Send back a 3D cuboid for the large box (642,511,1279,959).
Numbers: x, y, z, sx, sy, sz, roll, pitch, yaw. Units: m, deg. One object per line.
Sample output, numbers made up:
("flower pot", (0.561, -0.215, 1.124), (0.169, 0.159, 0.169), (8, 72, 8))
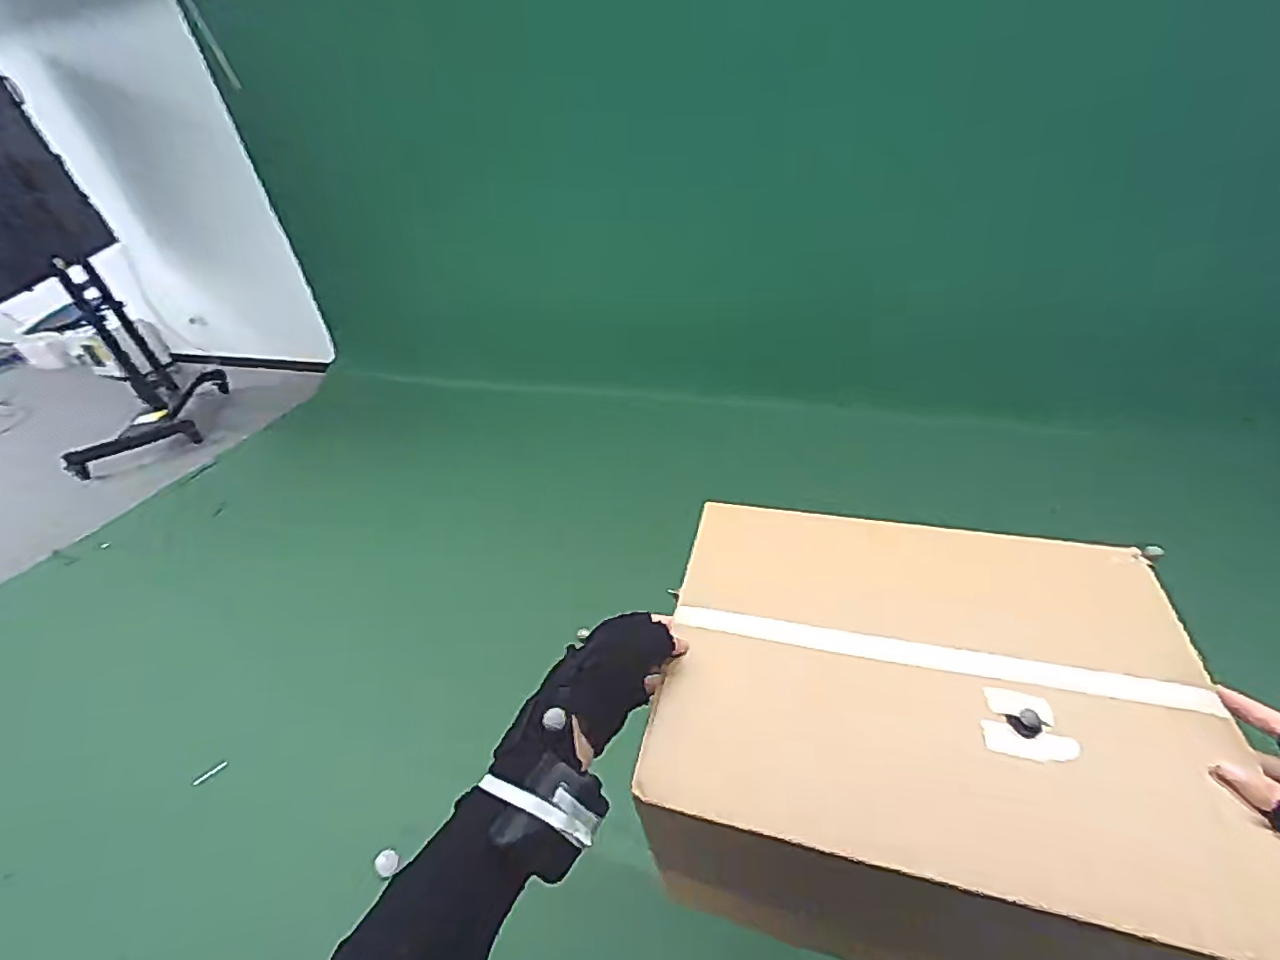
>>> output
("large box", (0.243, 0.261, 0.550), (0.408, 0.320, 0.320), (5, 43, 16))
